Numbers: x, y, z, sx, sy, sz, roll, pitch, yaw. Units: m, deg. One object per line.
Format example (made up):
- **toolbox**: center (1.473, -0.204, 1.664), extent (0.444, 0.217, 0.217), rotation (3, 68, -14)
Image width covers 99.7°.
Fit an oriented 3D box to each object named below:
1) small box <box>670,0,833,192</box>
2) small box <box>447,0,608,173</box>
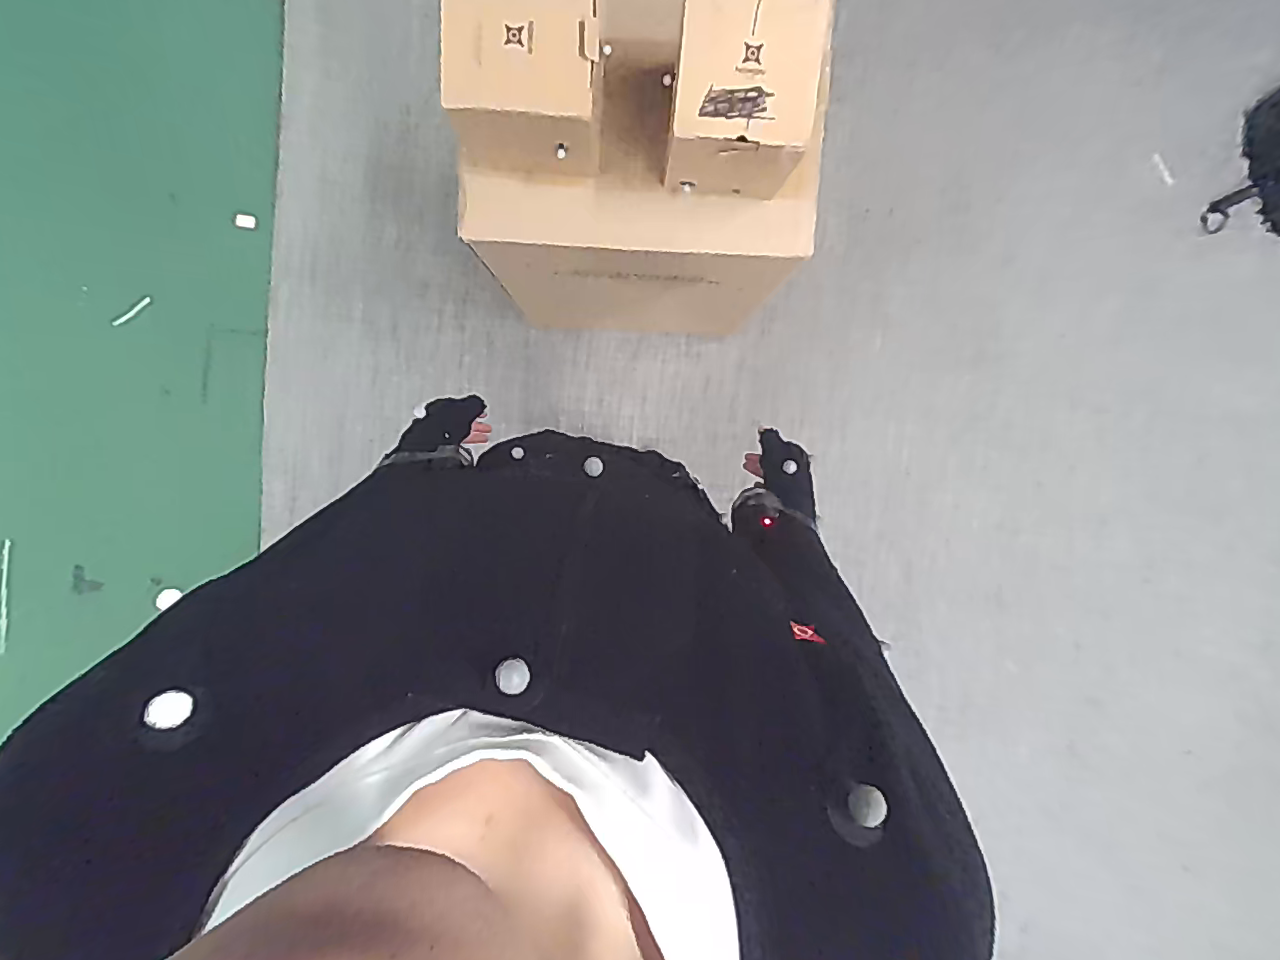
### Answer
- **small box**: center (0.131, -0.498, 0.701), extent (0.168, 0.176, 0.179), rotation (5, 98, -2)
- **small box**: center (-0.134, -0.520, 0.699), extent (0.179, 0.176, 0.168), rotation (3, 97, 0)
